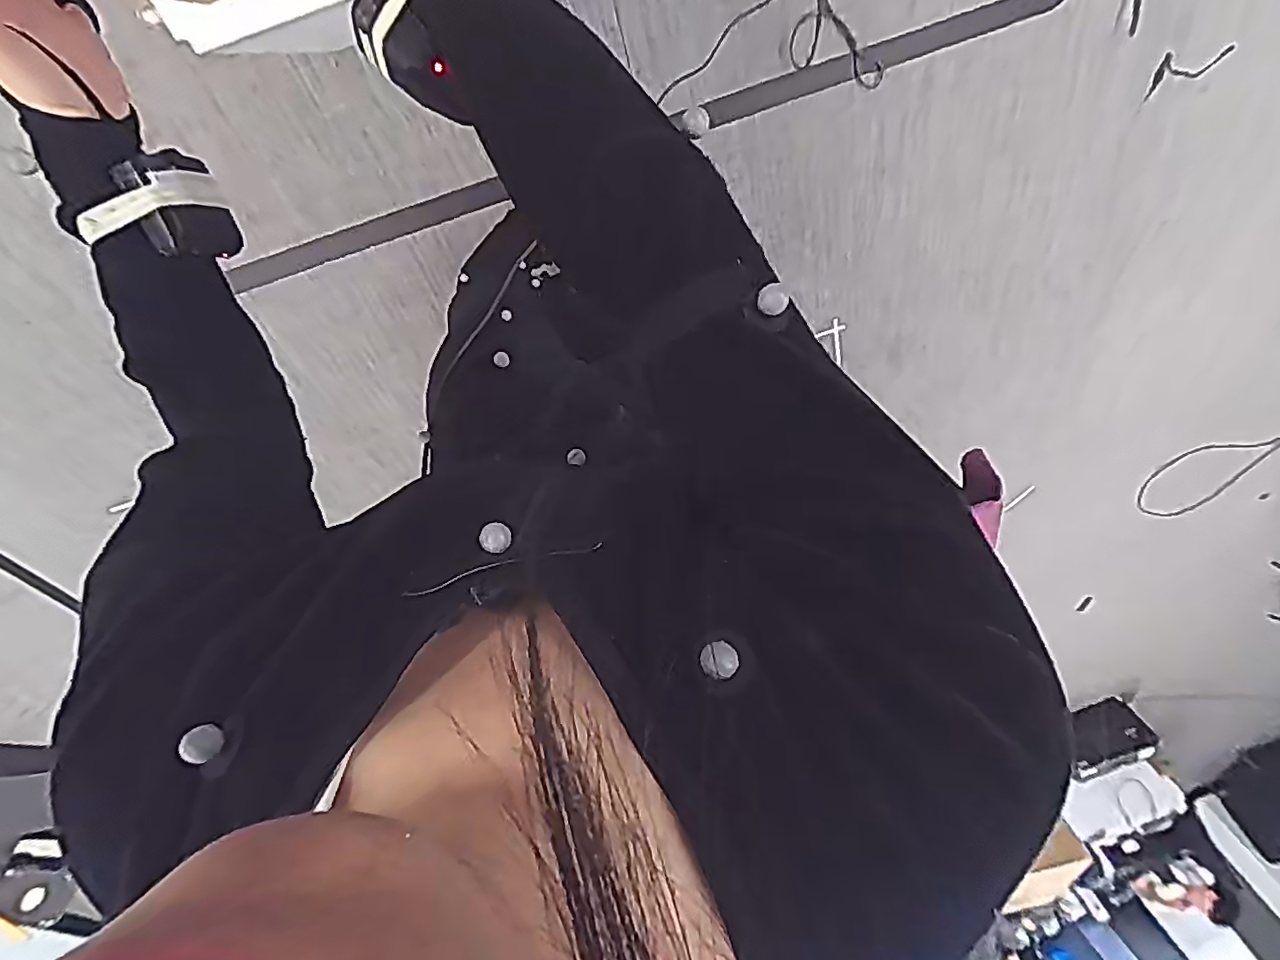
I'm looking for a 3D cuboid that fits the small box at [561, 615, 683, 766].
[{"bbox_3d":[-0.034,0.377,0.978,0.168,0.176,0.179,-20,128,1],"label":"small box"}]
